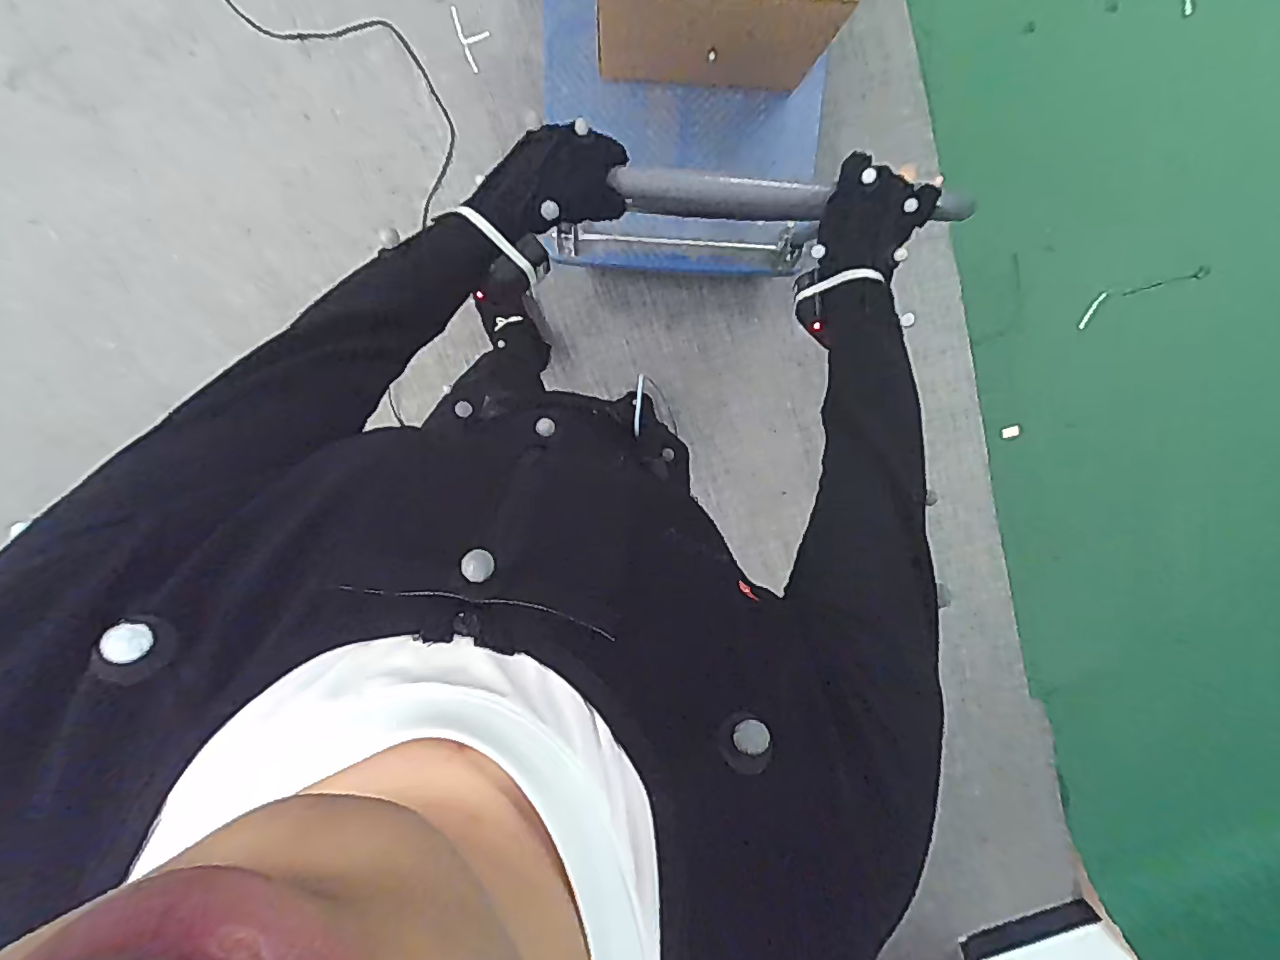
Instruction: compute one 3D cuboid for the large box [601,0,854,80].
[{"bbox_3d":[0.138,-0.930,0.925,0.408,0.320,0.320,1,104,-3],"label":"large box"}]
